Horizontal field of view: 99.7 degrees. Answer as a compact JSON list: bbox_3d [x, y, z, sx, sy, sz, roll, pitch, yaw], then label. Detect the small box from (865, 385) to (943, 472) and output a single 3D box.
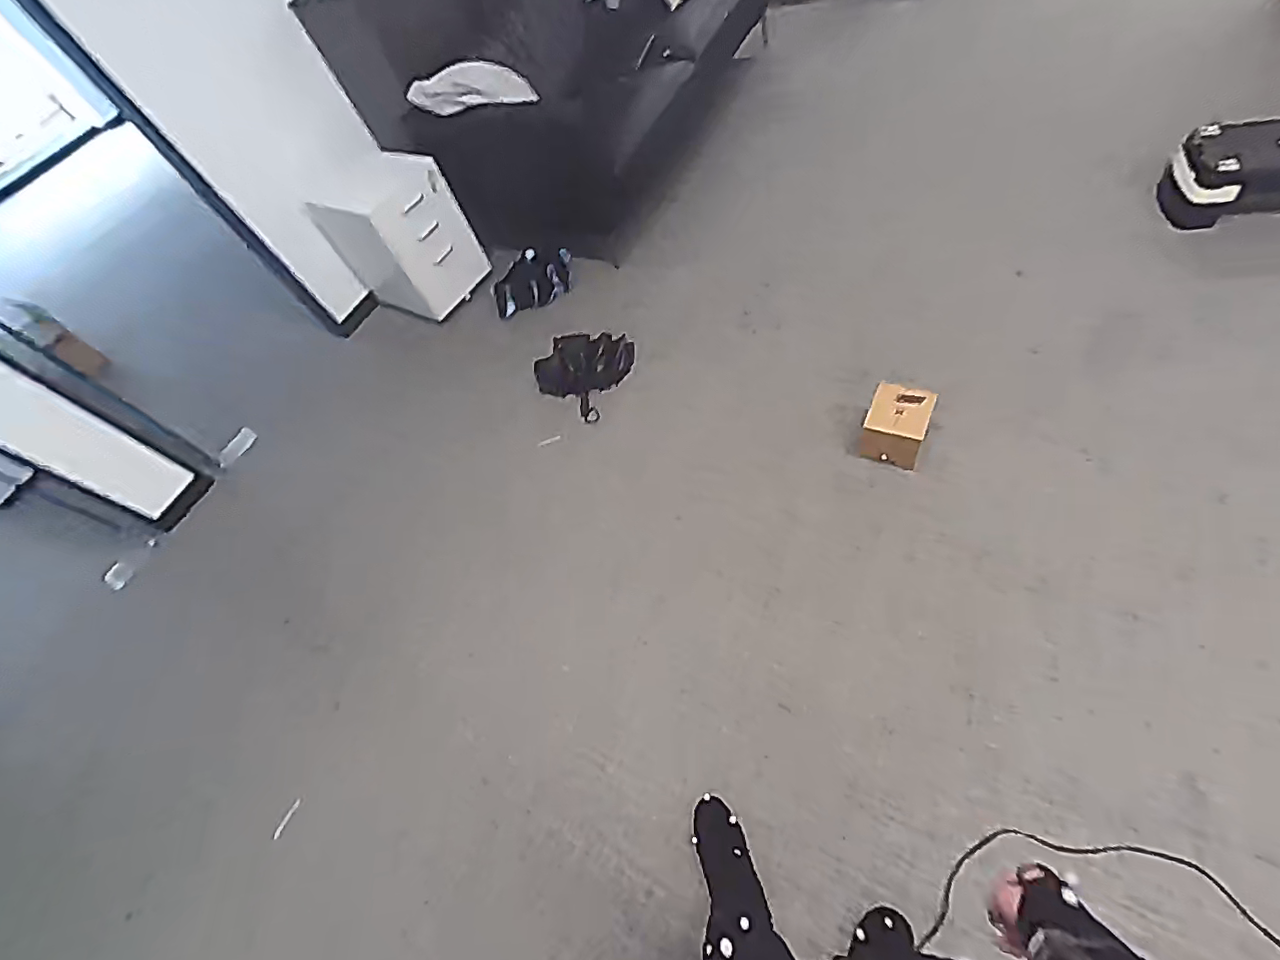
[{"bbox_3d":[0.791,-0.155,1.635,0.168,0.176,0.179,18,66,28],"label":"small box"}]
